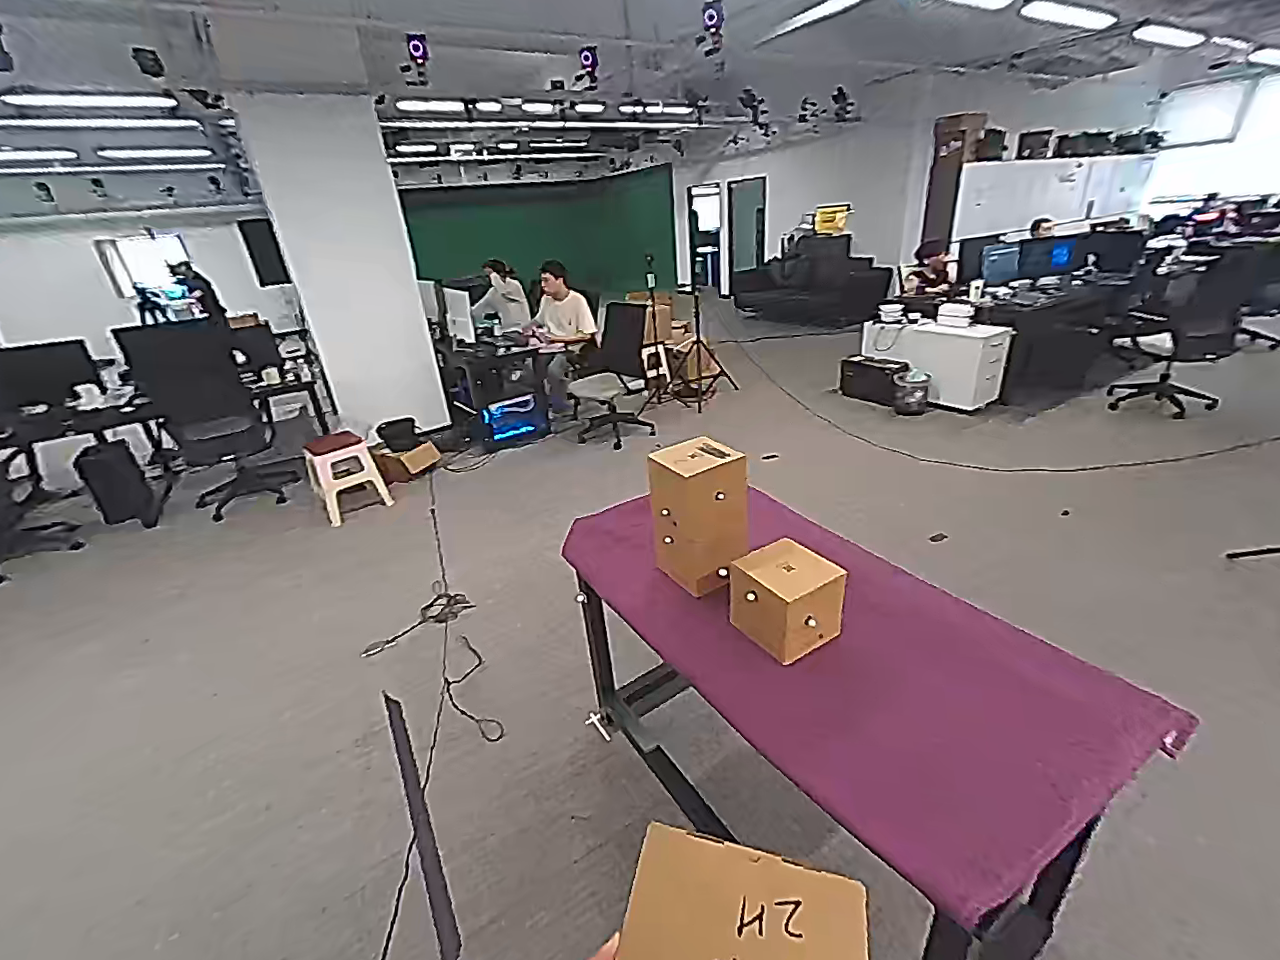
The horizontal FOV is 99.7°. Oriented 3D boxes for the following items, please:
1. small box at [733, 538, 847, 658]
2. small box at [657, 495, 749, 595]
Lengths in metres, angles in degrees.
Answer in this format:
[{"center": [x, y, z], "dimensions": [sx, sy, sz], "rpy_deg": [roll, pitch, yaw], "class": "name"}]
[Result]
[{"center": [0.319, 0.256, 1.166], "dimensions": [0.168, 0.176, 0.179], "rpy_deg": [-19, 28, -26], "class": "small box"}, {"center": [0.160, 0.164, 1.384], "dimensions": [0.168, 0.176, 0.179], "rpy_deg": [-20, 30, -26], "class": "small box"}]
